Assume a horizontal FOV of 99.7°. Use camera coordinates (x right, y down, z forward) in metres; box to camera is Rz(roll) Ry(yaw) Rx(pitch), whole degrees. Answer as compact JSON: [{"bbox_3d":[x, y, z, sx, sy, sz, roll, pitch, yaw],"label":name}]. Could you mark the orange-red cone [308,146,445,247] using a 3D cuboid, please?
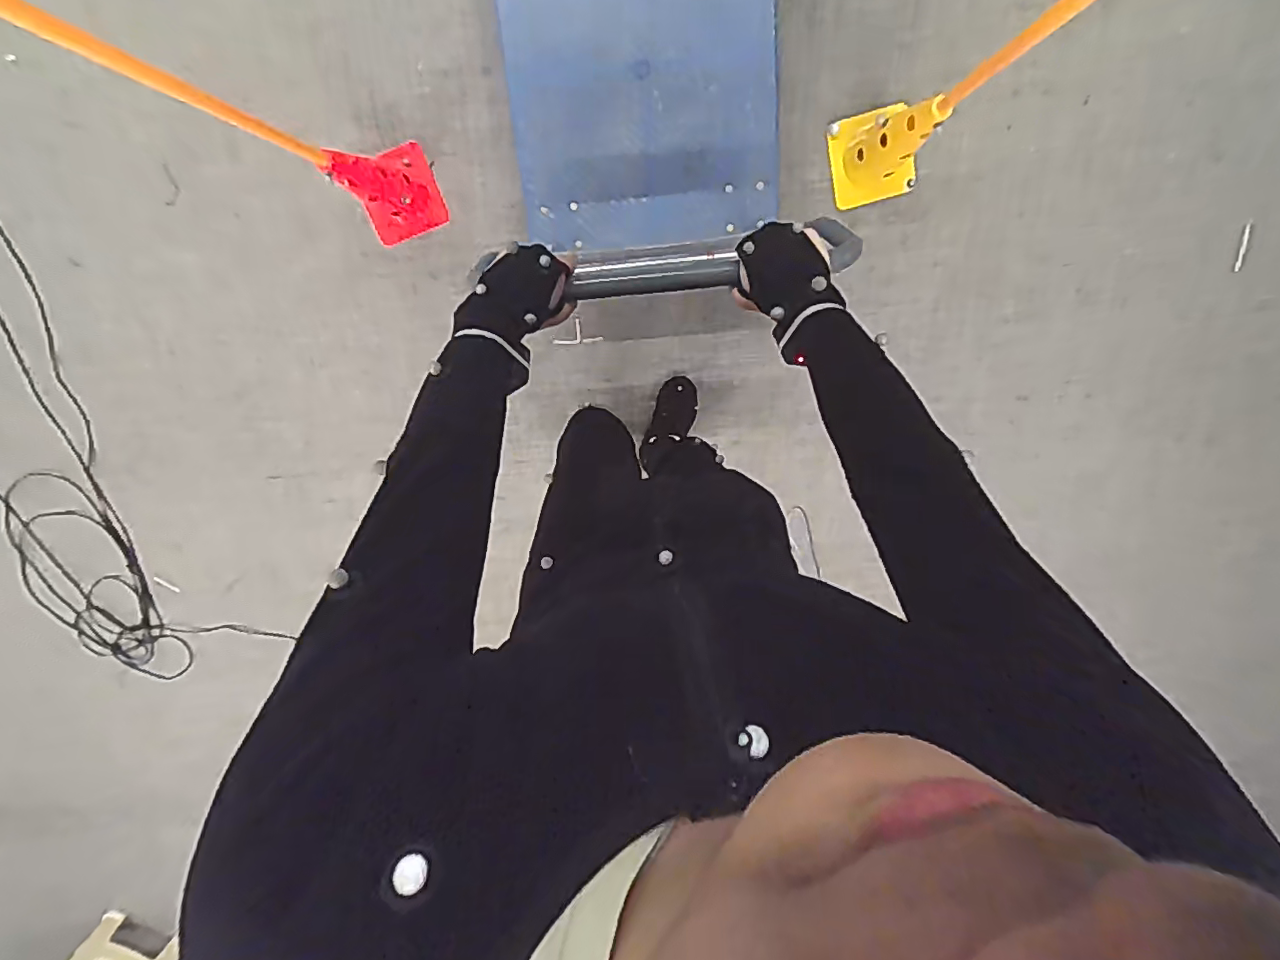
[{"bbox_3d":[-0.617,-0.664,1.207,0.199,0.360,0.198,-17,106,7],"label":"orange-red cone"}]
